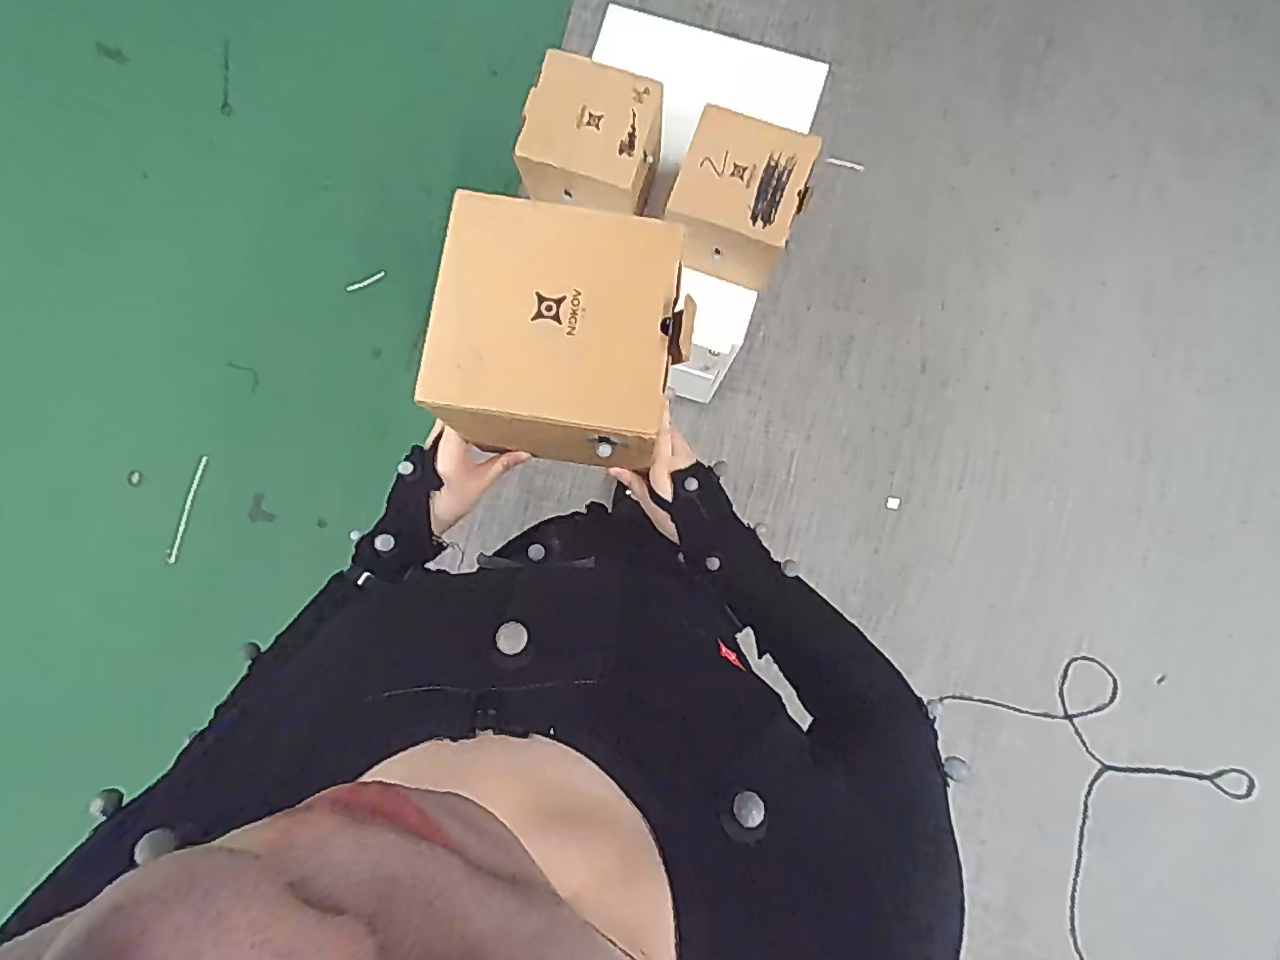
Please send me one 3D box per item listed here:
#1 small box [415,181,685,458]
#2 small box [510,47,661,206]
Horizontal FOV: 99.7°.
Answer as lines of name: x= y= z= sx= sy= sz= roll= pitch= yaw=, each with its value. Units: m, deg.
small box: x=-0.066 y=-0.120 z=0.470 sx=0.179 sy=0.176 sz=0.168 roll=8 pitch=82 yaw=-2
small box: x=-0.076 y=-0.508 z=0.839 sx=0.179 sy=0.176 sz=0.168 roll=17 pitch=89 yaw=1
